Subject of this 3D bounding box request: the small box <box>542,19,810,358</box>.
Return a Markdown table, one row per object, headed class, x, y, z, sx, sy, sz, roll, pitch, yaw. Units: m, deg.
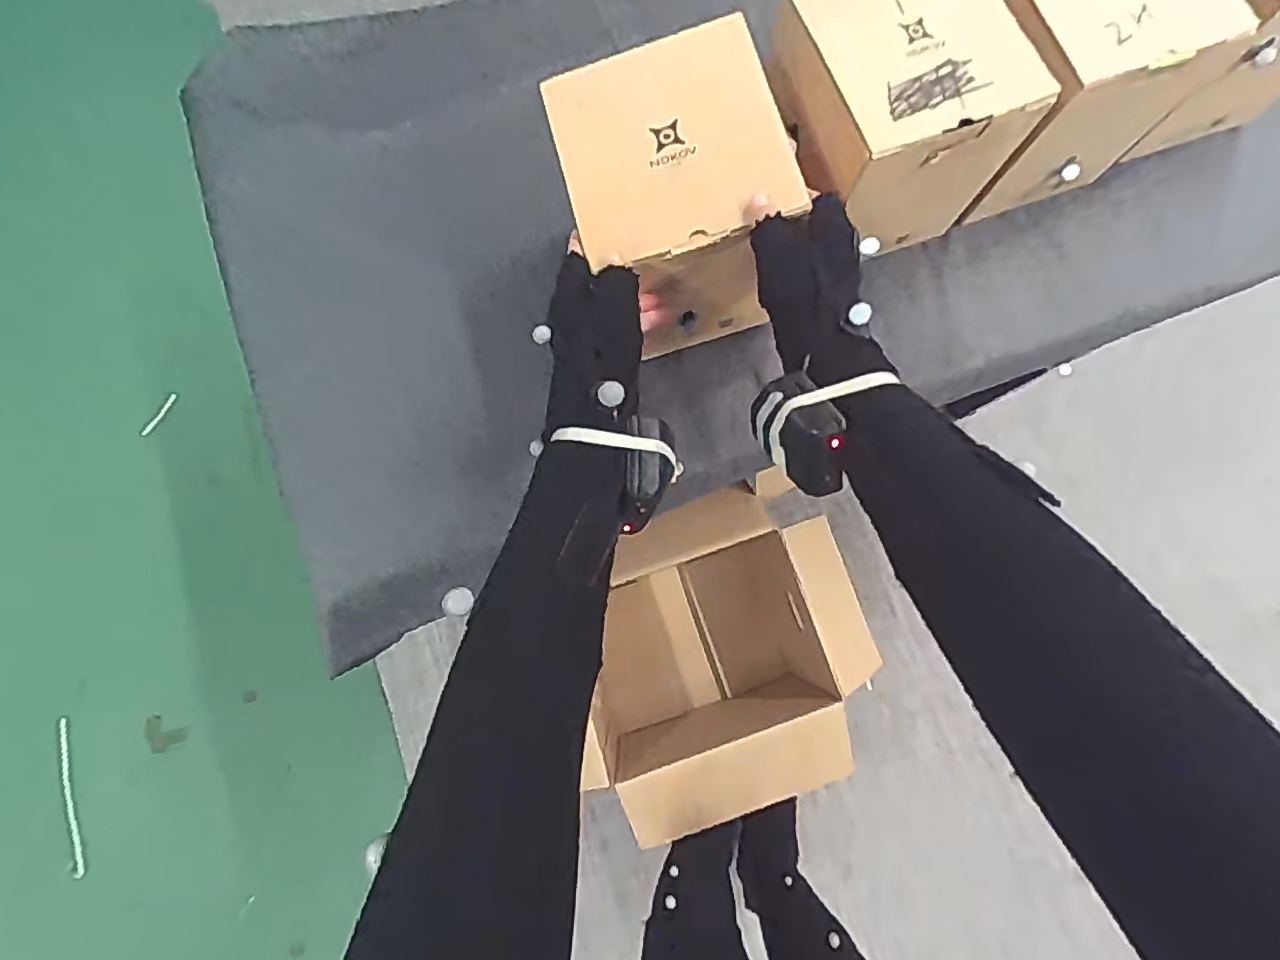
| class | x | y | z | sx | sy | sz | roll | pitch | yaw |
| --- | --- | --- | --- | --- | --- | --- | --- | --- | --- |
| small box | 0.030 | -0.237 | 0.480 | 0.168 | 0.176 | 0.179 | -16 | 79 | 5 |
